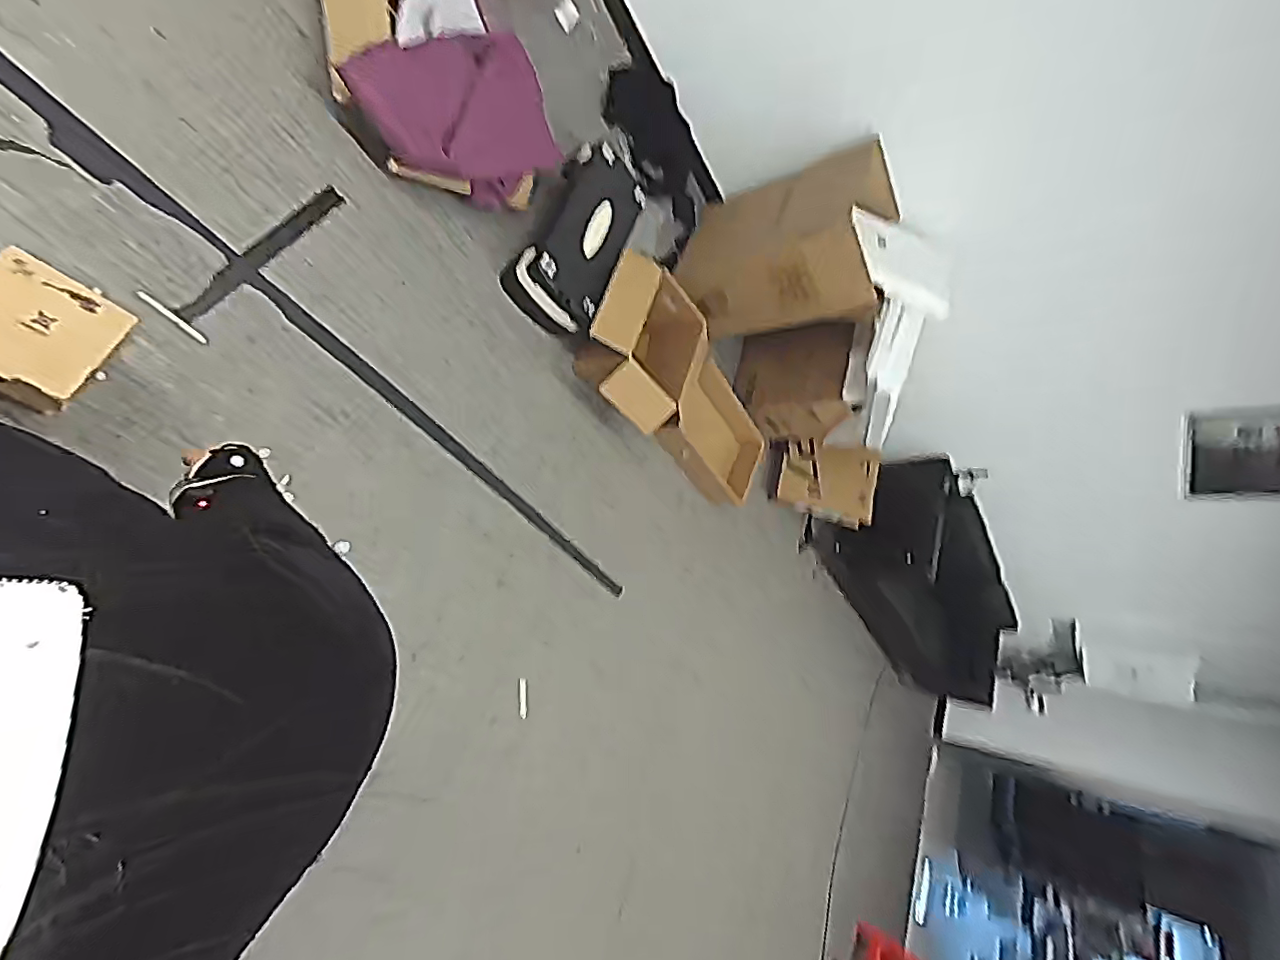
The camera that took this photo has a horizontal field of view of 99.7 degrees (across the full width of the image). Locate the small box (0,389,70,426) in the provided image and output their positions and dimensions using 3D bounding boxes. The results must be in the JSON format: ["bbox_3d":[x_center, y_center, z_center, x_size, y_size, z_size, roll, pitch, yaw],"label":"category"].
[{"bbox_3d":[-1.034,-0.212,0.938,0.168,0.176,0.179,42,61,-39],"label":"small box"}]

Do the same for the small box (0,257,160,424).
[{"bbox_3d":[-0.902,-0.203,0.839,0.168,0.176,0.179,41,60,-39],"label":"small box"}]
